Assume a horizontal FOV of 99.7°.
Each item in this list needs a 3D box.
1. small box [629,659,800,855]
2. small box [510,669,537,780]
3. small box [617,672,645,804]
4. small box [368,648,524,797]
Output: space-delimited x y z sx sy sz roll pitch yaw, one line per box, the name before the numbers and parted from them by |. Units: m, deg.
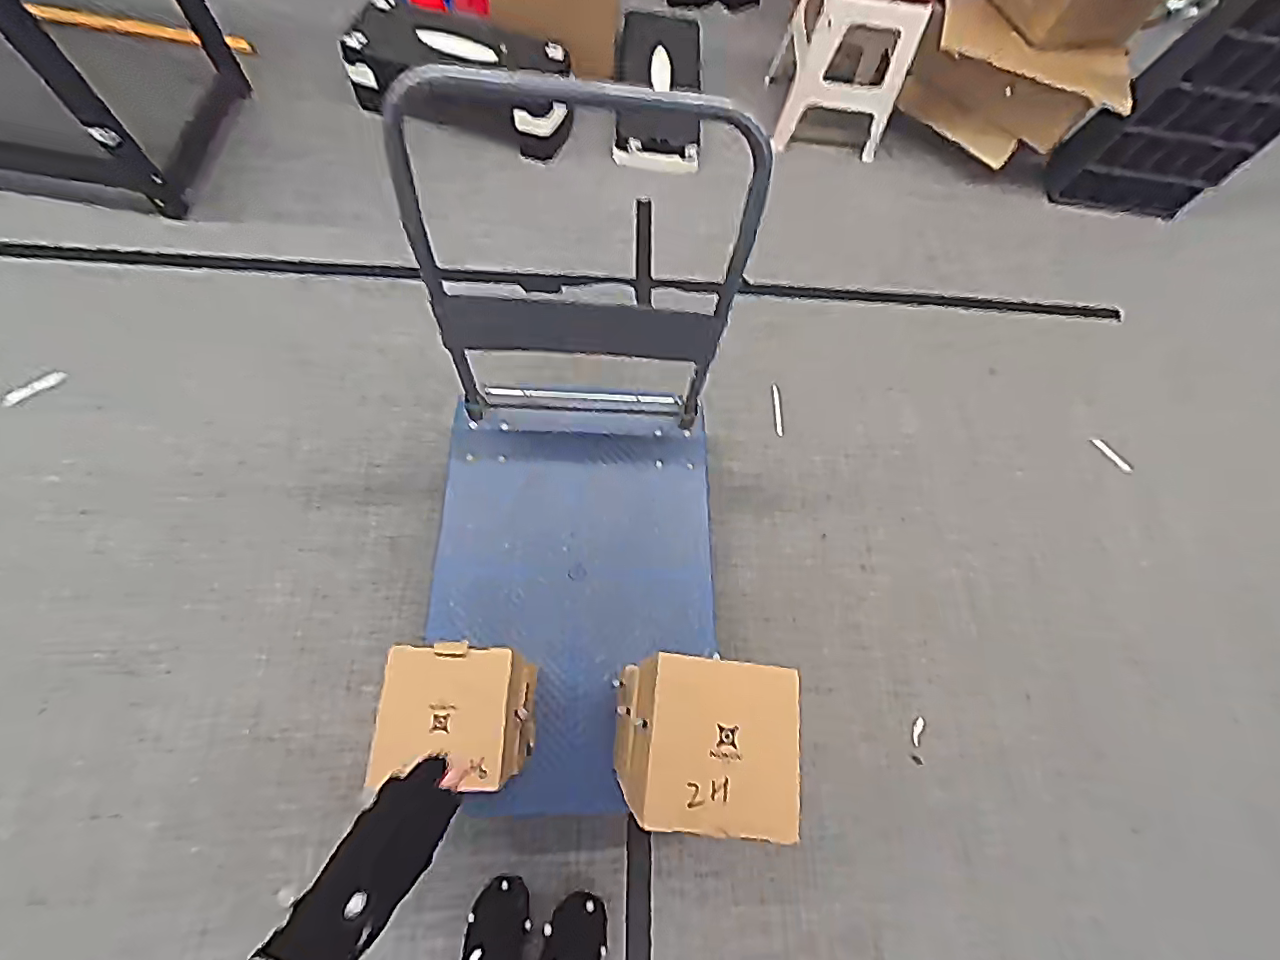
small box | 0.082 0.324 0.657 0.168 0.176 0.179 9 68 -3
small box | -0.278 0.408 0.935 0.179 0.176 0.168 6 68 -3
small box | 0.063 0.387 0.808 0.179 0.176 0.168 8 68 -5
small box | -0.264 0.346 0.783 0.168 0.176 0.179 4 67 -5
